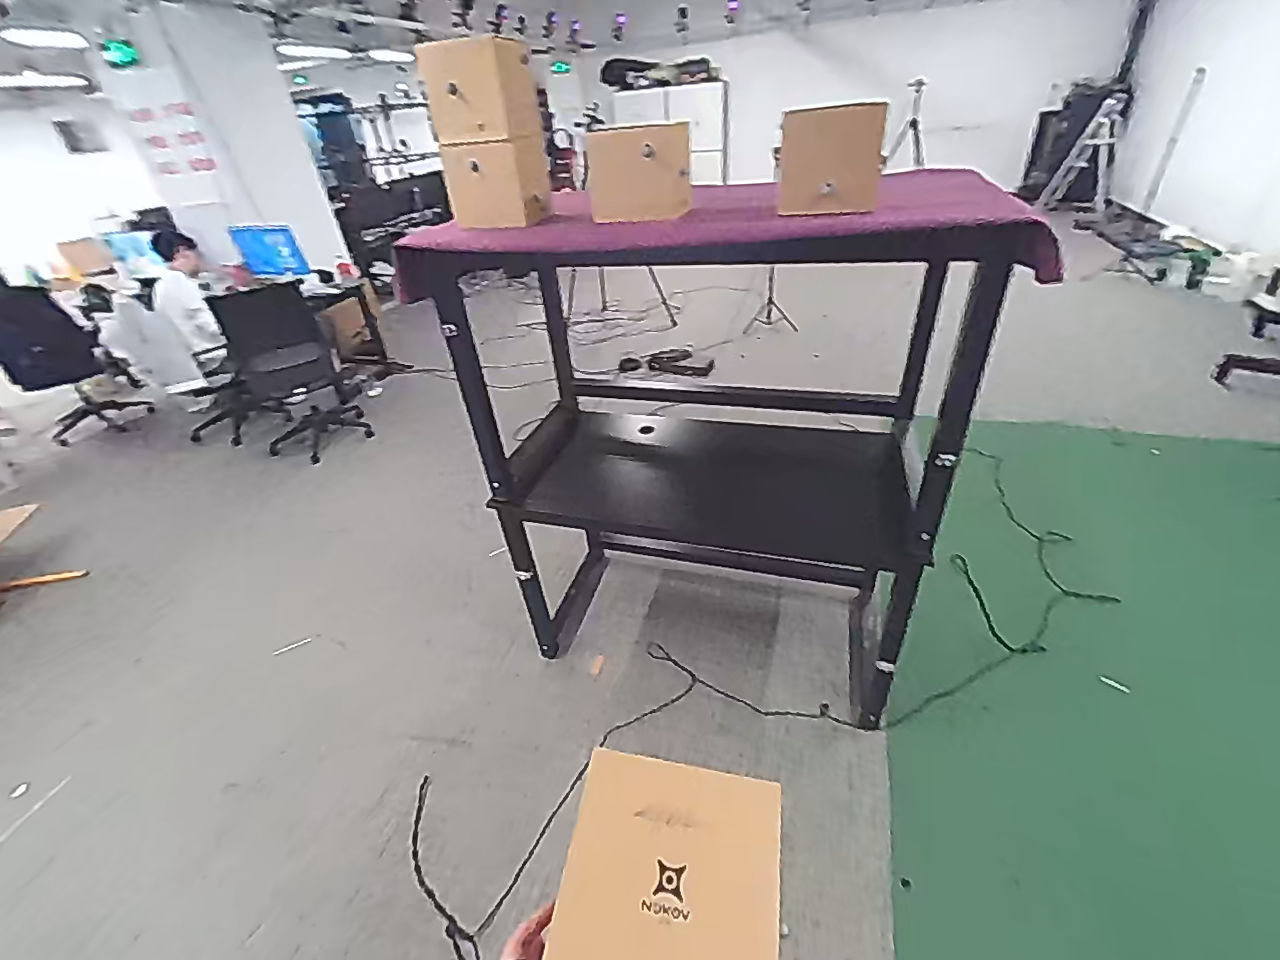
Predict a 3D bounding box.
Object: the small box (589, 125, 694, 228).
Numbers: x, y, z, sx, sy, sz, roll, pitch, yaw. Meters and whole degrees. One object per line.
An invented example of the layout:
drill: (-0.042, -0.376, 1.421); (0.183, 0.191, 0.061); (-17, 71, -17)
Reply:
small box: (0.012, -0.638, 1.140); (0.179, 0.176, 0.168); (6, 35, 18)

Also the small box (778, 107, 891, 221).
small box: (0.364, -0.598, 1.025); (0.179, 0.176, 0.168); (6, 34, 18)

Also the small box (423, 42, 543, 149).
small box: (-0.319, -0.801, 1.143); (0.168, 0.176, 0.179); (4, 34, 14)

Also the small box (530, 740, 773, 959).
small box: (0.018, 0.356, 0.465); (0.168, 0.176, 0.179); (7, 46, 9)

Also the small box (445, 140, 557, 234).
small box: (-0.306, -0.665, 1.230); (0.179, 0.176, 0.168); (5, 36, 14)
